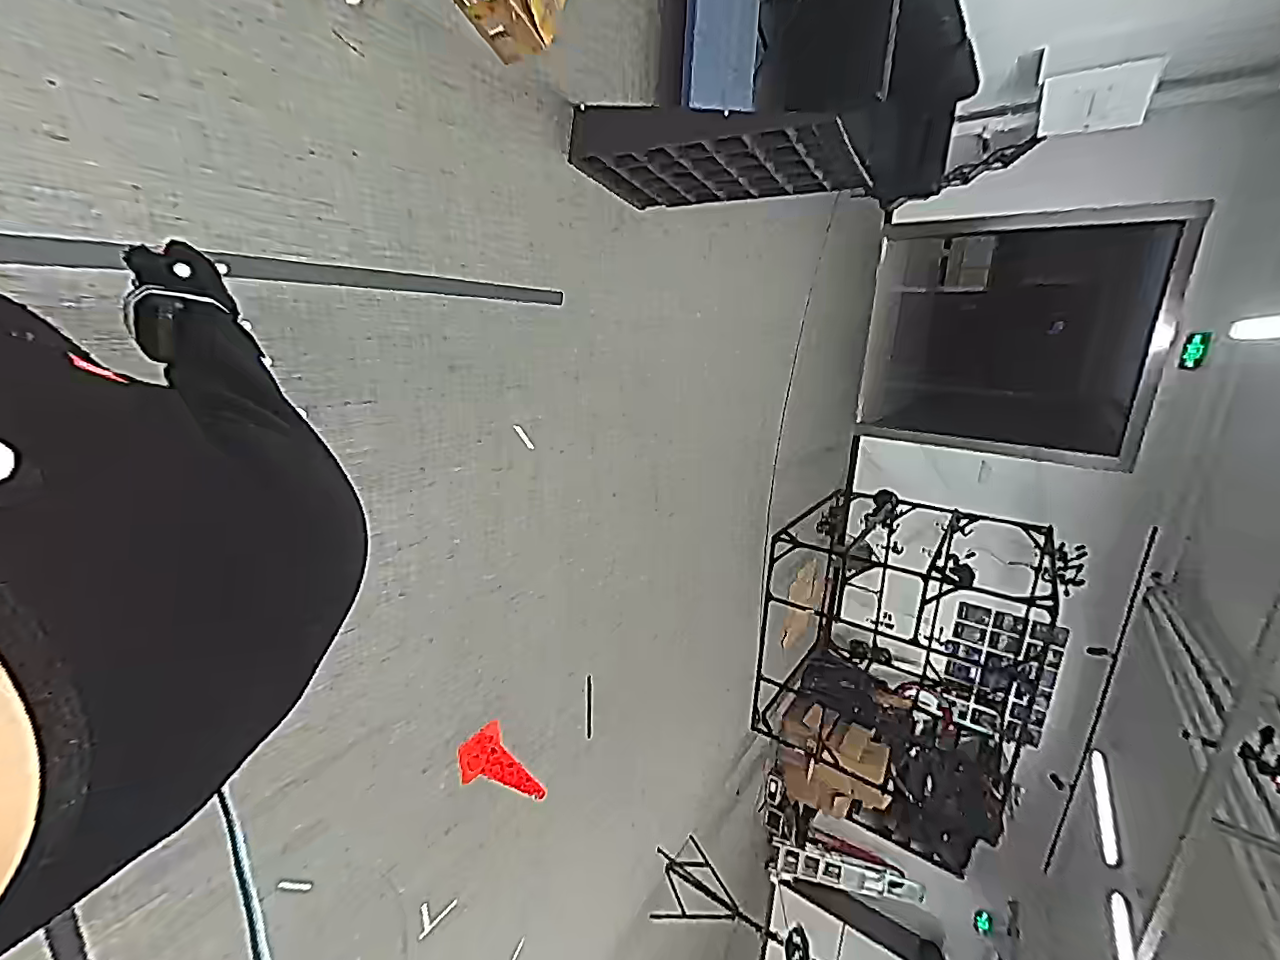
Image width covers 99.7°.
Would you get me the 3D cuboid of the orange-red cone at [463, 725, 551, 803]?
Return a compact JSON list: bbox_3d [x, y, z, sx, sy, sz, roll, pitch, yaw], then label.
[{"bbox_3d":[-0.488,1.144,2.087,0.198,0.360,0.199,-25,119,-51],"label":"orange-red cone"}]
